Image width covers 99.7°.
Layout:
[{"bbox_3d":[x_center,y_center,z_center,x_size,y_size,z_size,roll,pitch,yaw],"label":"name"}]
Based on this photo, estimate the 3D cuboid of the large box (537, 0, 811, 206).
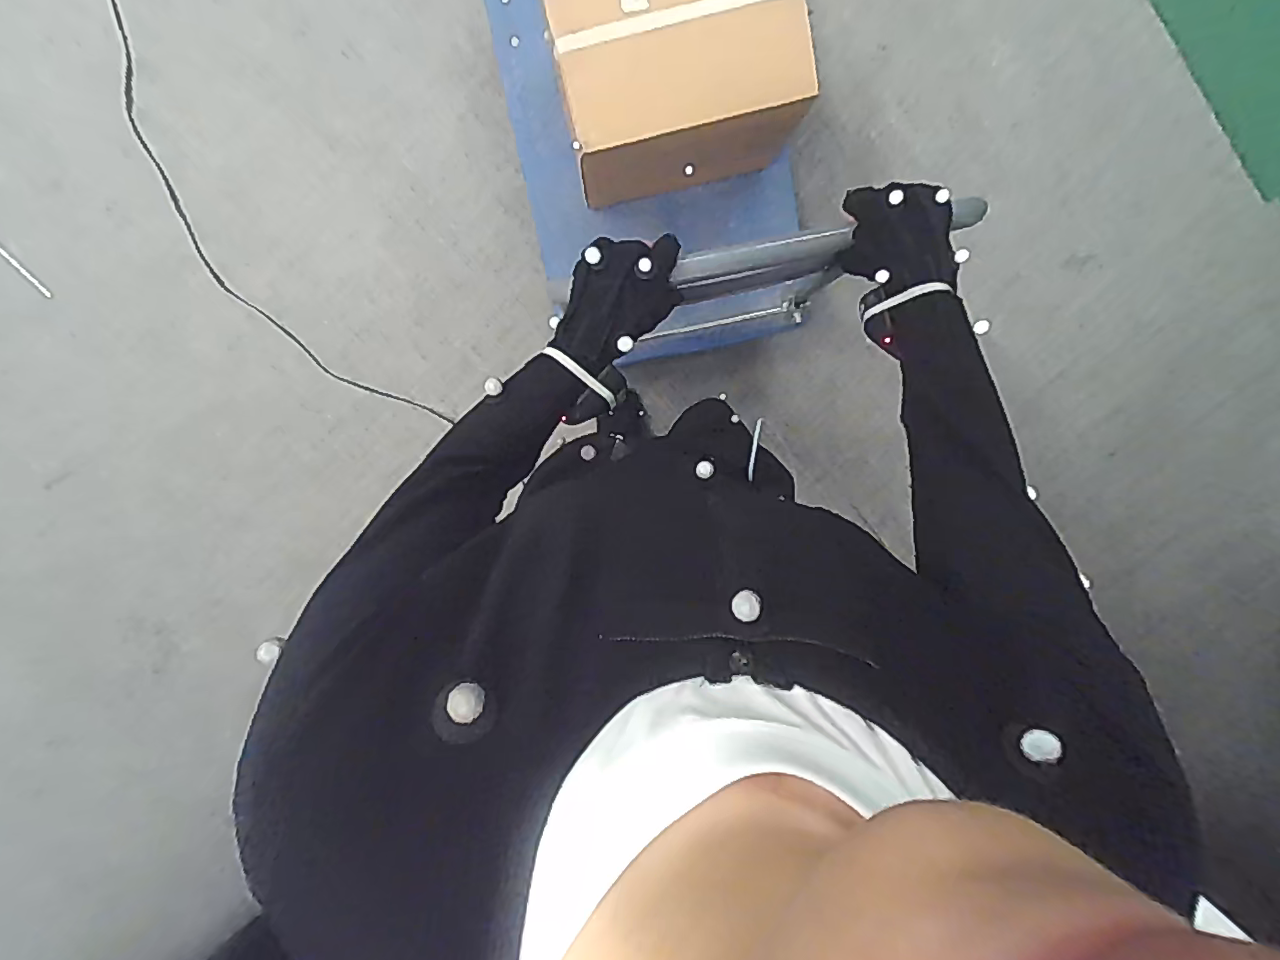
[{"bbox_3d":[0.050,-0.759,1.006,0.408,0.320,0.320,-14,101,0],"label":"large box"}]
